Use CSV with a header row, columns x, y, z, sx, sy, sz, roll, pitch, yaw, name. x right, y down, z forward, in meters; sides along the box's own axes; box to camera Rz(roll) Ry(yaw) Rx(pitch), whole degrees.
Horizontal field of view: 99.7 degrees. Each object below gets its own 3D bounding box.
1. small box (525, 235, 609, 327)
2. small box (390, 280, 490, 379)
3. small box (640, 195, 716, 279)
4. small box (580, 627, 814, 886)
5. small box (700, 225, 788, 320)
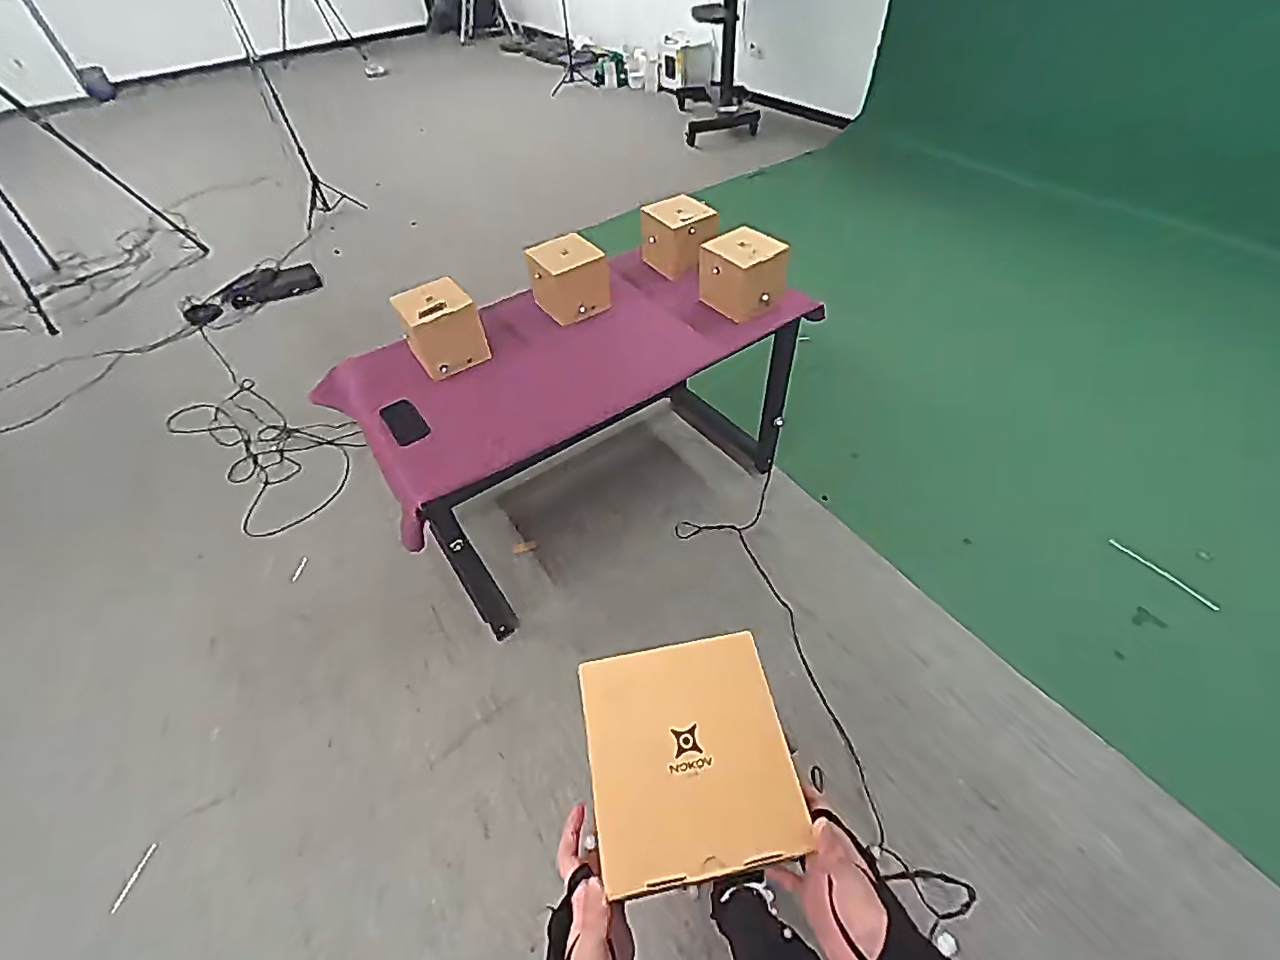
x,y,z,sx,sy,sz,roll,pitch,yaw,name
-0.204,-0.569,1.550,0.168,0.176,0.179,-30,54,-18,small box
-0.518,-0.388,1.420,0.168,0.176,0.179,-31,53,-20,small box
0.117,-0.752,1.675,0.168,0.176,0.179,-29,53,-18,small box
0.039,0.266,0.515,0.168,0.176,0.179,-10,54,-5,small box
0.283,-0.575,1.503,0.168,0.176,0.179,-32,54,-18,small box
